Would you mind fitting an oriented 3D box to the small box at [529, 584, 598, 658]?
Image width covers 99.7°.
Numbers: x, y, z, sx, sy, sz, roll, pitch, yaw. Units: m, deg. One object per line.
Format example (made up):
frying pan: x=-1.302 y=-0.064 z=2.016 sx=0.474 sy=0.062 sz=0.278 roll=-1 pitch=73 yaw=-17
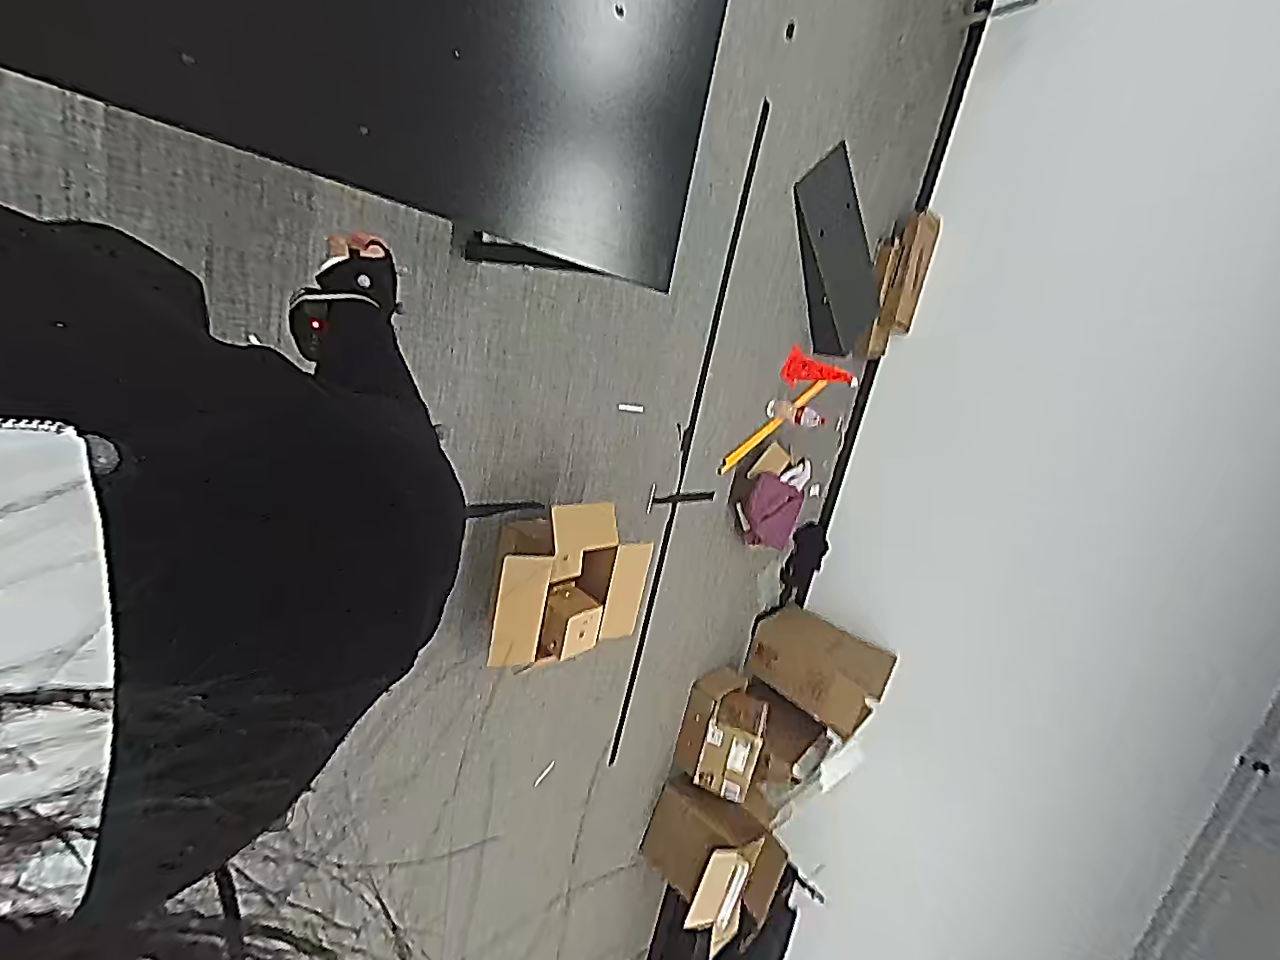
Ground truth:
small box: x=-0.279 y=0.502 z=1.948 sx=0.168 sy=0.176 sz=0.179 roll=-7 pitch=115 yaw=-48
